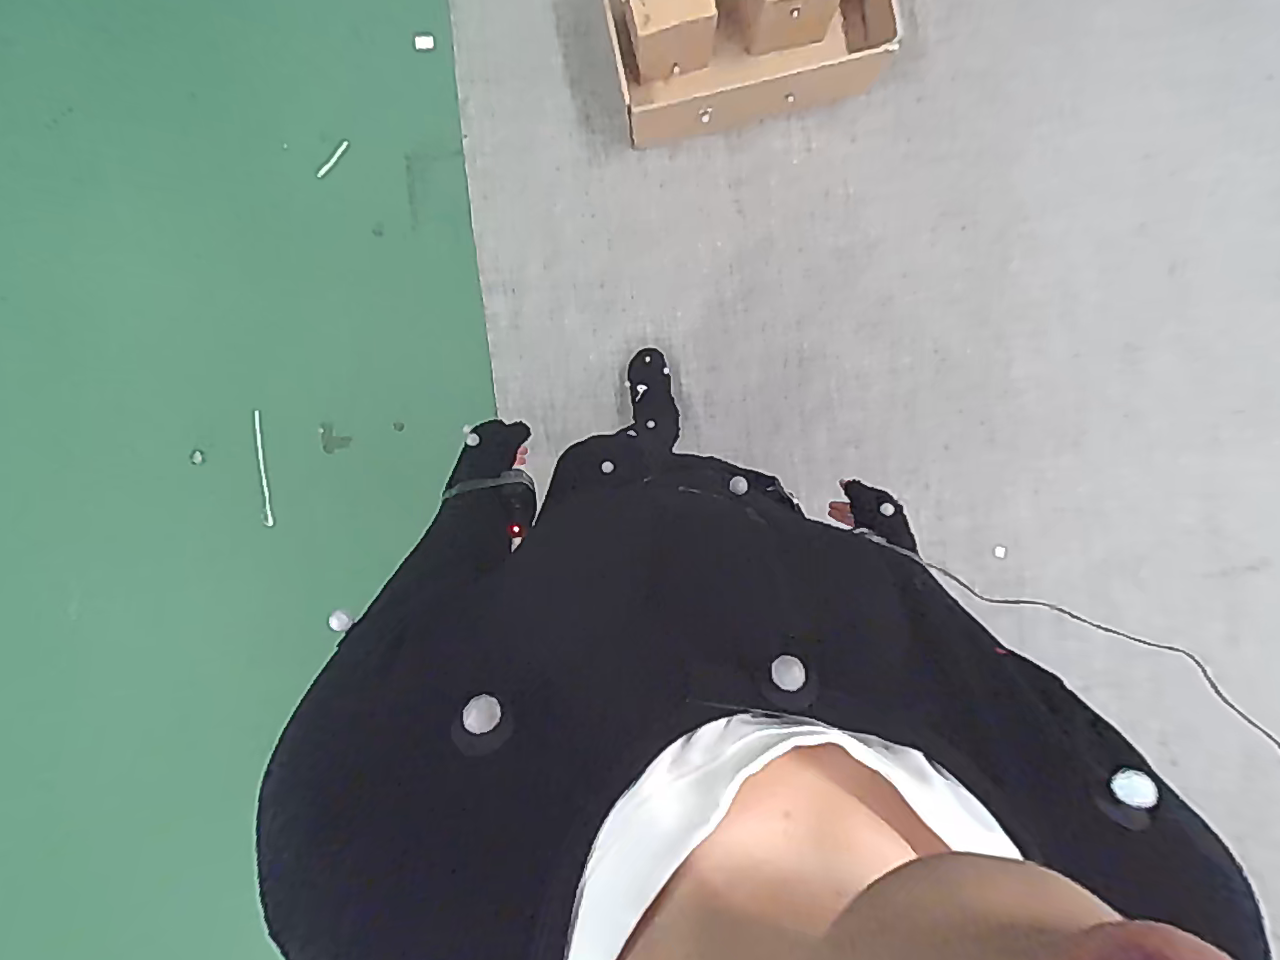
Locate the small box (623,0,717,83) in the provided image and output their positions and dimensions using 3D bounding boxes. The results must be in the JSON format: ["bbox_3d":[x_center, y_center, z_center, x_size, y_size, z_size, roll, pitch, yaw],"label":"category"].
[{"bbox_3d":[0.062,-1.054,1.227,0.179,0.176,0.168,-15,94,1],"label":"small box"}]

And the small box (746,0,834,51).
[{"bbox_3d":[0.336,-1.113,1.214,0.179,0.176,0.168,-10,95,3],"label":"small box"}]
